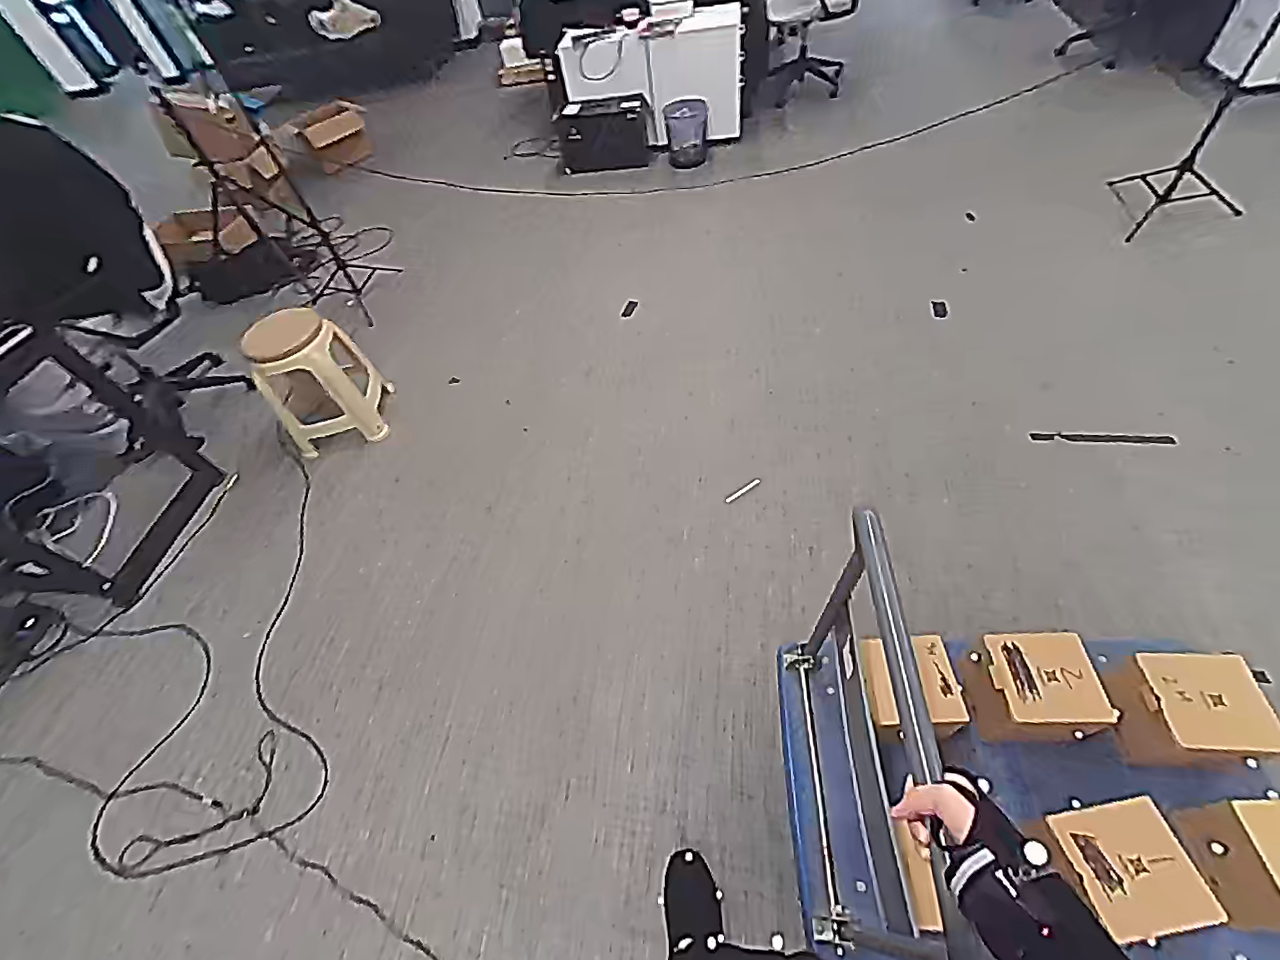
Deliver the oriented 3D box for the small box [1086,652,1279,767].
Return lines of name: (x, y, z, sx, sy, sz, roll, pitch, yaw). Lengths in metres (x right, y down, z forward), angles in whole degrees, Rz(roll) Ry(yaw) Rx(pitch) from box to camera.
small box: (1.015, 0.439, 1.030, 0.179, 0.176, 0.168, -1, 52, 9)

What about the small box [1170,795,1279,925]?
small box: (1.040, 0.625, 0.887, 0.179, 0.176, 0.168, -5, 52, 6)

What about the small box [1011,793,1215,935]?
small box: (0.770, 0.648, 0.914, 0.179, 0.176, 0.168, -11, 52, 0)

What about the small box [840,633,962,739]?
small box: (0.524, 0.431, 1.120, 0.179, 0.176, 0.168, -5, 53, 6)

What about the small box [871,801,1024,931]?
small box: (0.514, 0.670, 0.941, 0.179, 0.176, 0.168, -1, 53, 7)
